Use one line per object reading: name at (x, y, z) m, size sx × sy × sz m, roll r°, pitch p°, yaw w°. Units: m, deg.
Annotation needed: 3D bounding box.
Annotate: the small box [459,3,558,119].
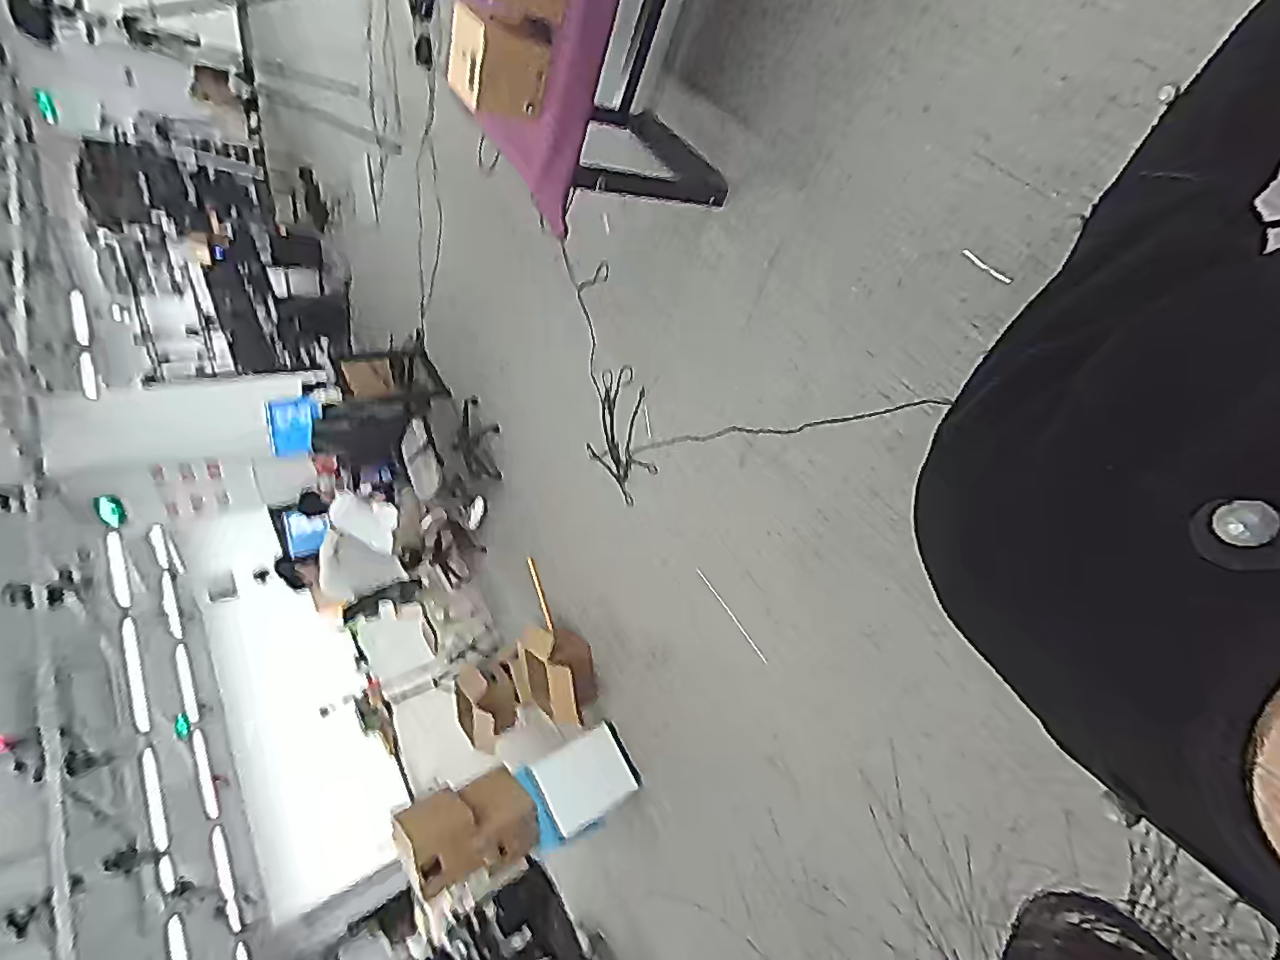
small box at (-0.319, -1.005, 1.310) m, size 0.179 × 0.176 × 0.168 m, roll 55°, pitch 140°, yaw 25°
